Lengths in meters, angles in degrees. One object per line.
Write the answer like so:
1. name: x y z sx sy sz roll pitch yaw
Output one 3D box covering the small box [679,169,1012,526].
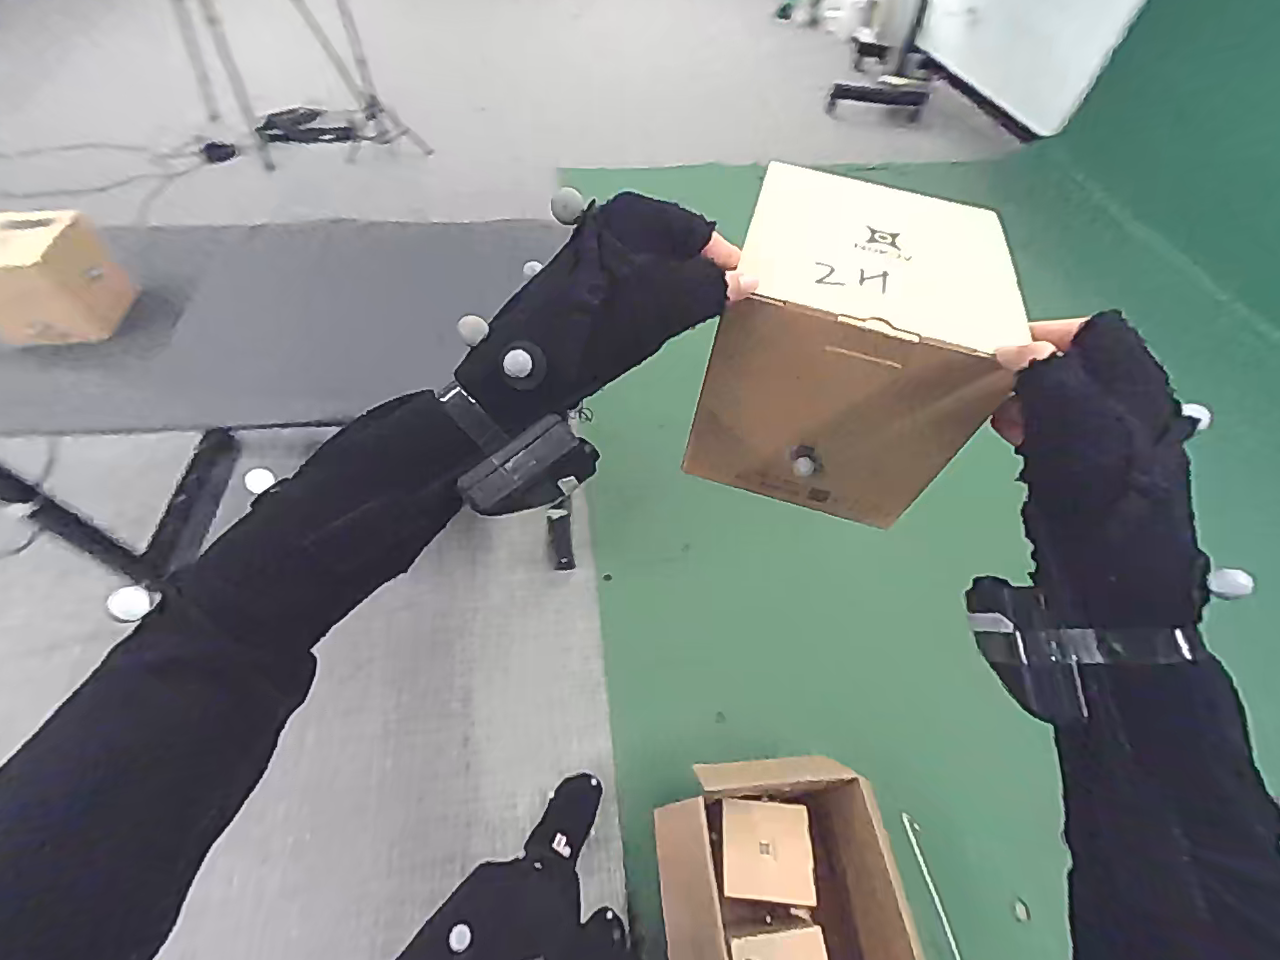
1. small box: 0.133 -0.095 0.407 0.168 0.176 0.179 15 53 4
